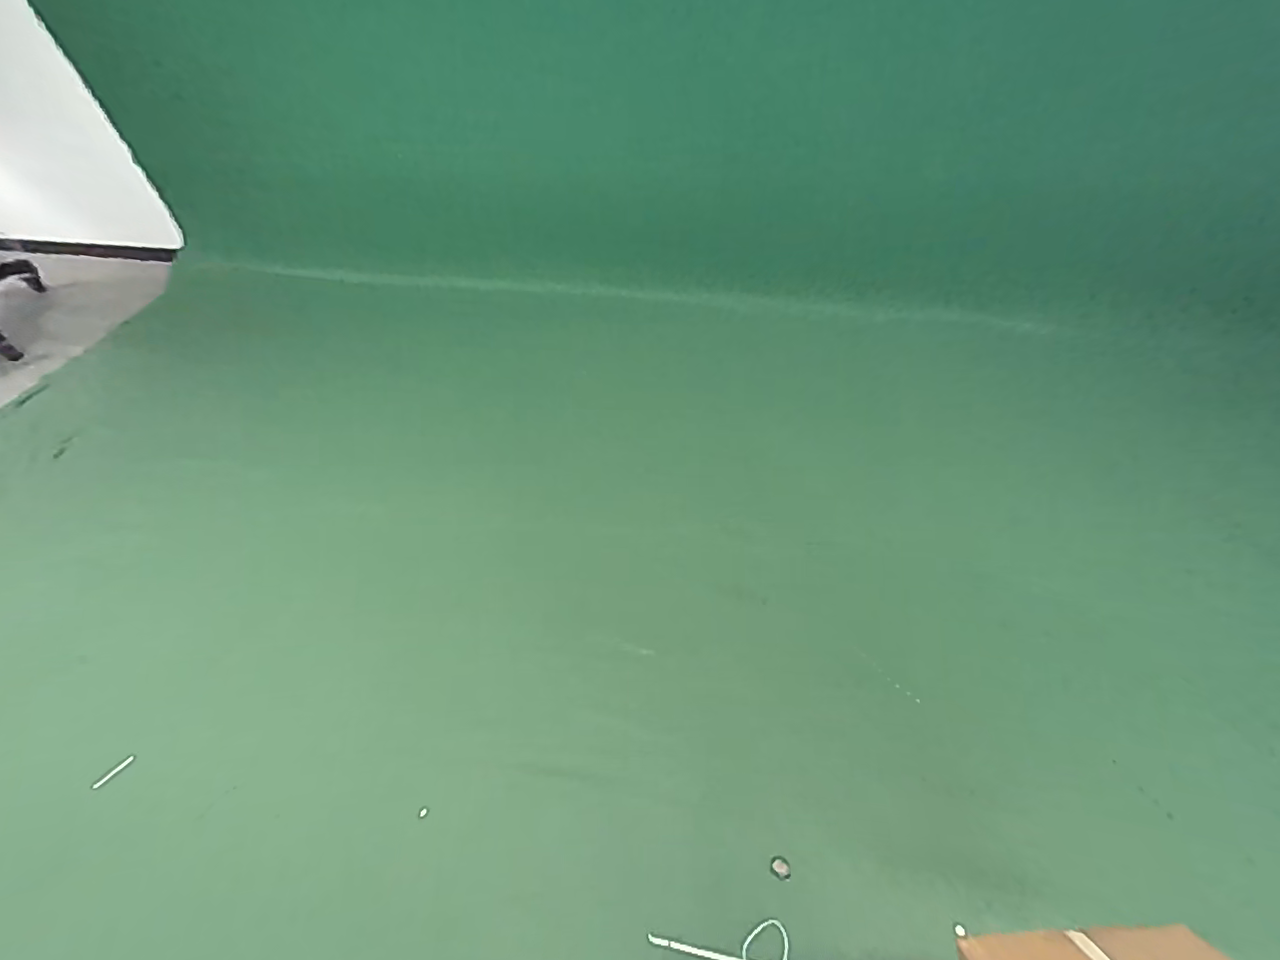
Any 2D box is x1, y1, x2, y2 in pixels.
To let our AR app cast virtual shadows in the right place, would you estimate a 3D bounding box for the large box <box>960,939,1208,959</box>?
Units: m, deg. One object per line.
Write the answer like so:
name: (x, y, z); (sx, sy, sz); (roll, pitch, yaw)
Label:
large box: (0.604, 0.771, 0.536); (0.320, 0.408, 0.320); (-6, 81, 4)
